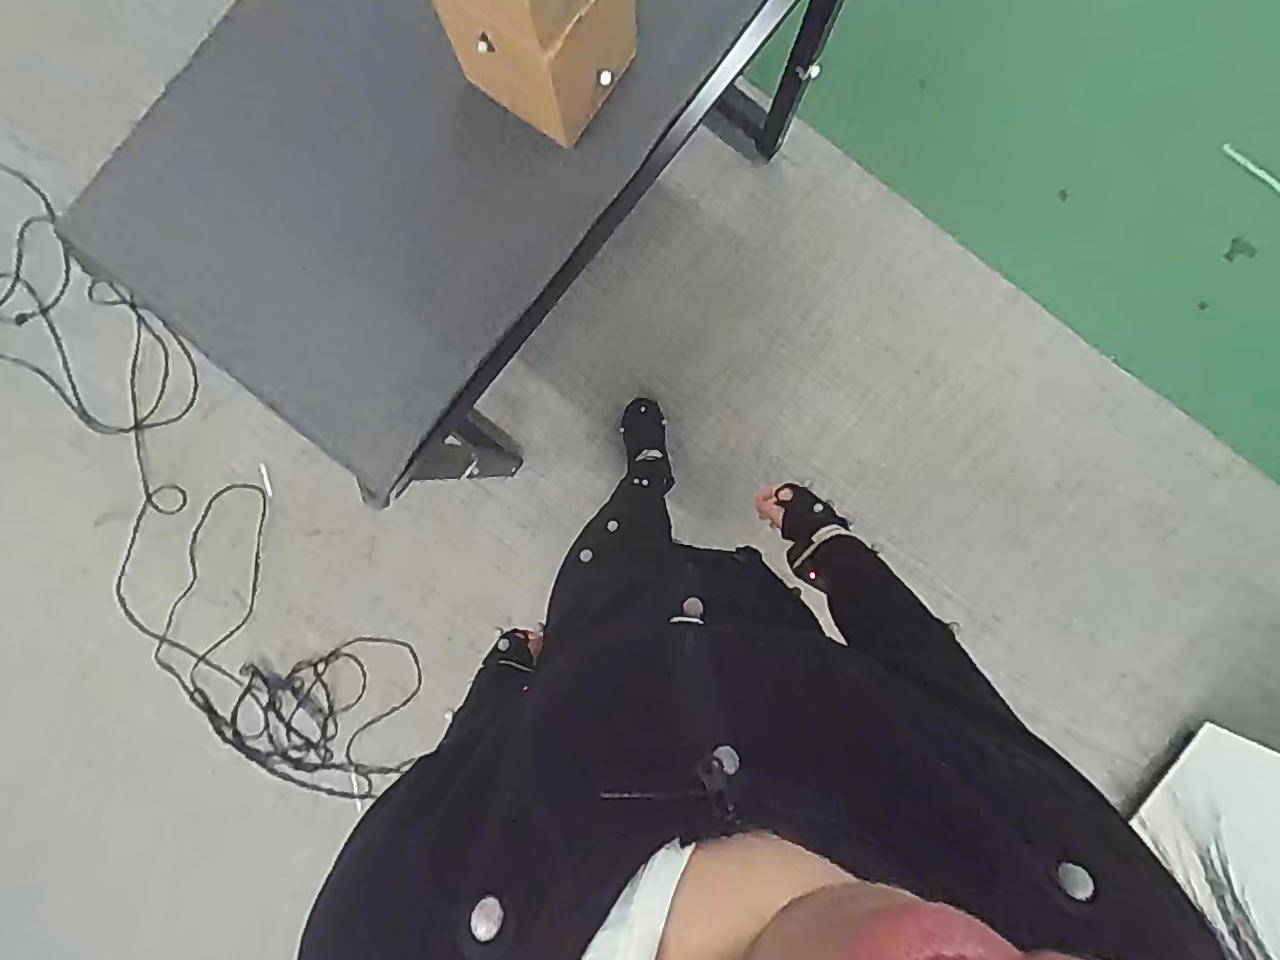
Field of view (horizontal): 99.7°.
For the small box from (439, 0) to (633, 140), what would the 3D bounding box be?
[{"bbox_3d":[-0.124,-0.569,0.662,0.179,0.176,0.168,34,90,0],"label":"small box"}]
